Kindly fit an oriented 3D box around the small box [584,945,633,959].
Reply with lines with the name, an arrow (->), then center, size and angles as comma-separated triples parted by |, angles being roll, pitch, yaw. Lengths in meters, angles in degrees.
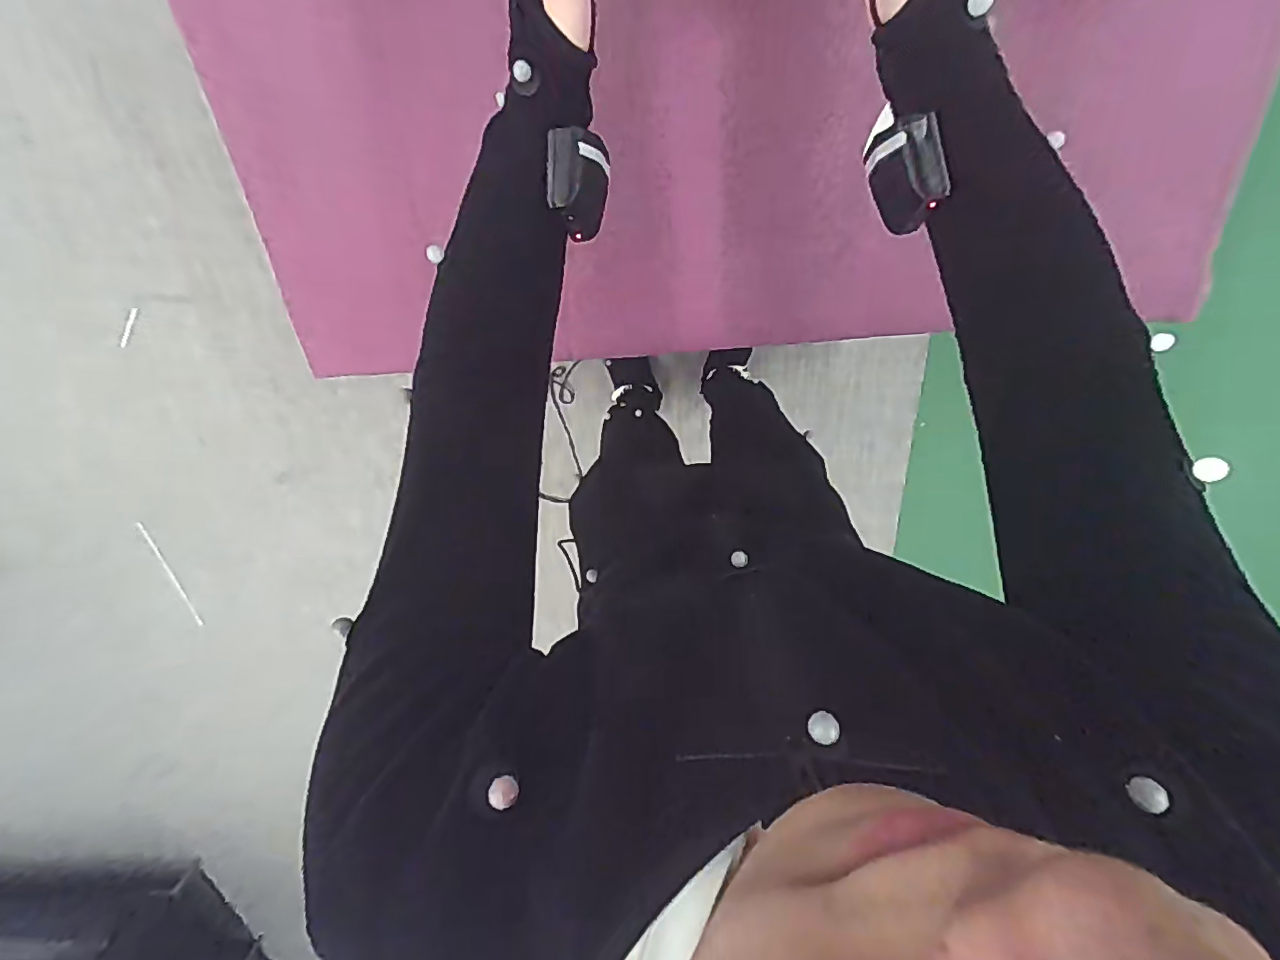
small box -> -0.108, 1.681, 1.781 | 0.168, 0.176, 0.179 | 1, 116, 1
